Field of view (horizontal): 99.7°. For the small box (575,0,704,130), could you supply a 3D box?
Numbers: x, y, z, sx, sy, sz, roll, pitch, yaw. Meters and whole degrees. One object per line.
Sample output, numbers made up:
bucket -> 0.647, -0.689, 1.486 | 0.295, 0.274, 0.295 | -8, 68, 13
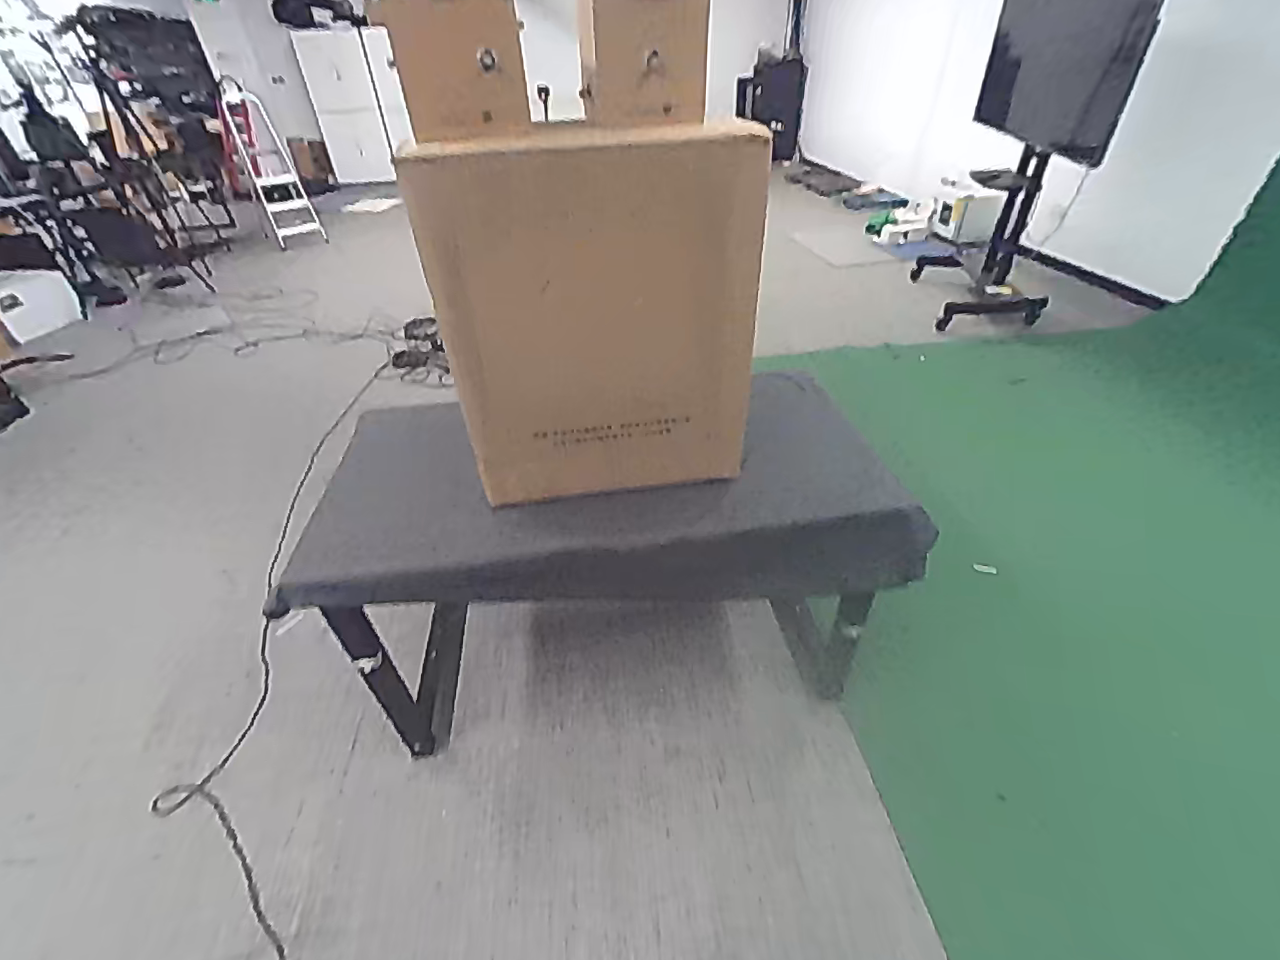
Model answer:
small box -> -0.001, -0.648, 0.829 | 0.168, 0.176, 0.179 | -9, 42, -8

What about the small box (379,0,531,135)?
small box -> -0.261, -0.608, 0.776 | 0.168, 0.176, 0.179 | -14, 43, -12
